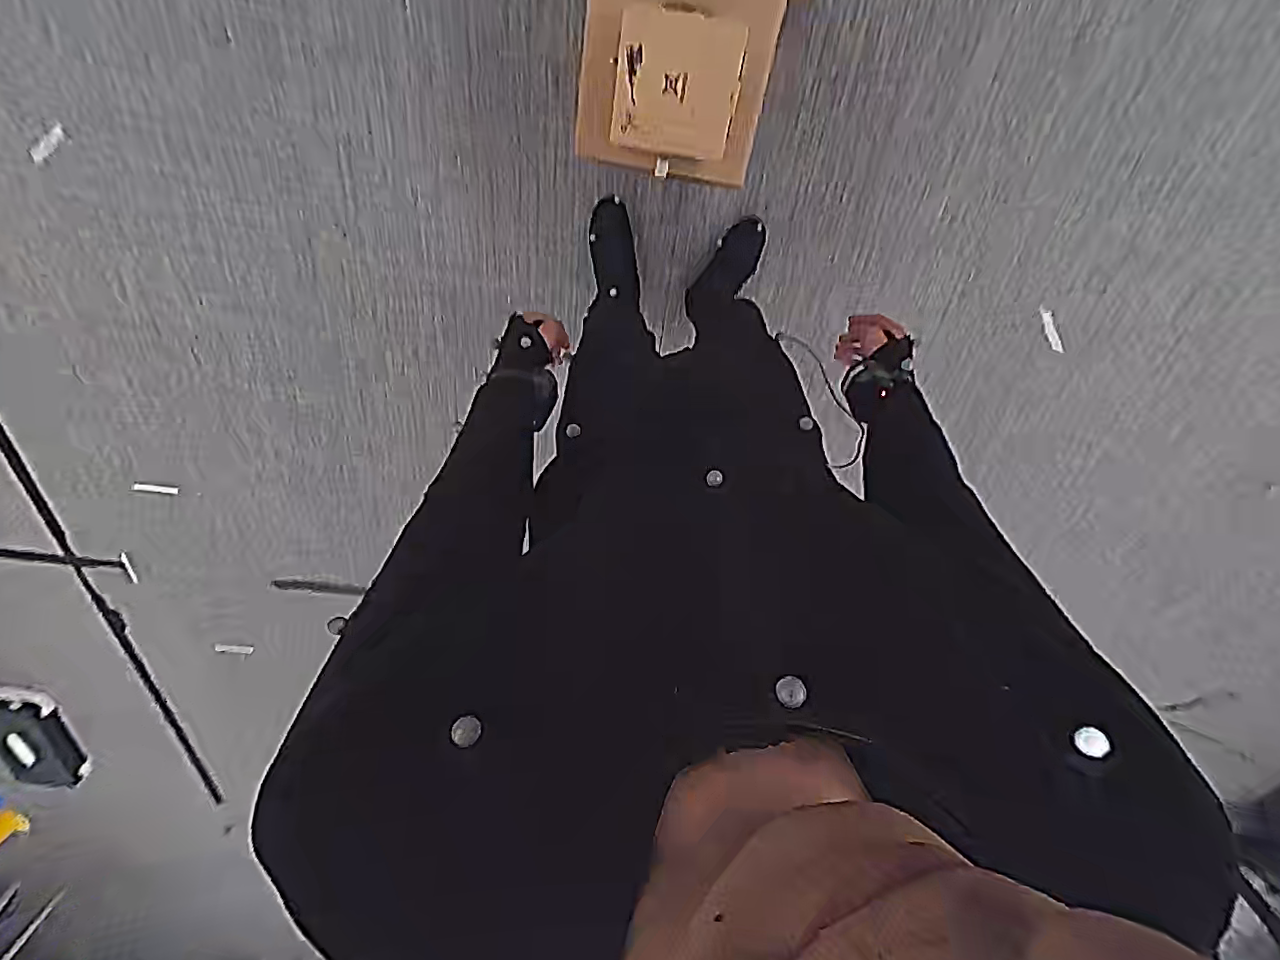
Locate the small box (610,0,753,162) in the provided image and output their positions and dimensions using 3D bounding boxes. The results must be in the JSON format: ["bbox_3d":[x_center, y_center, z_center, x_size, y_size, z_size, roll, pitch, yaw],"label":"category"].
[{"bbox_3d":[0.053,-0.601,0.825,0.179,0.176,0.168,8,124,-5],"label":"small box"}]
